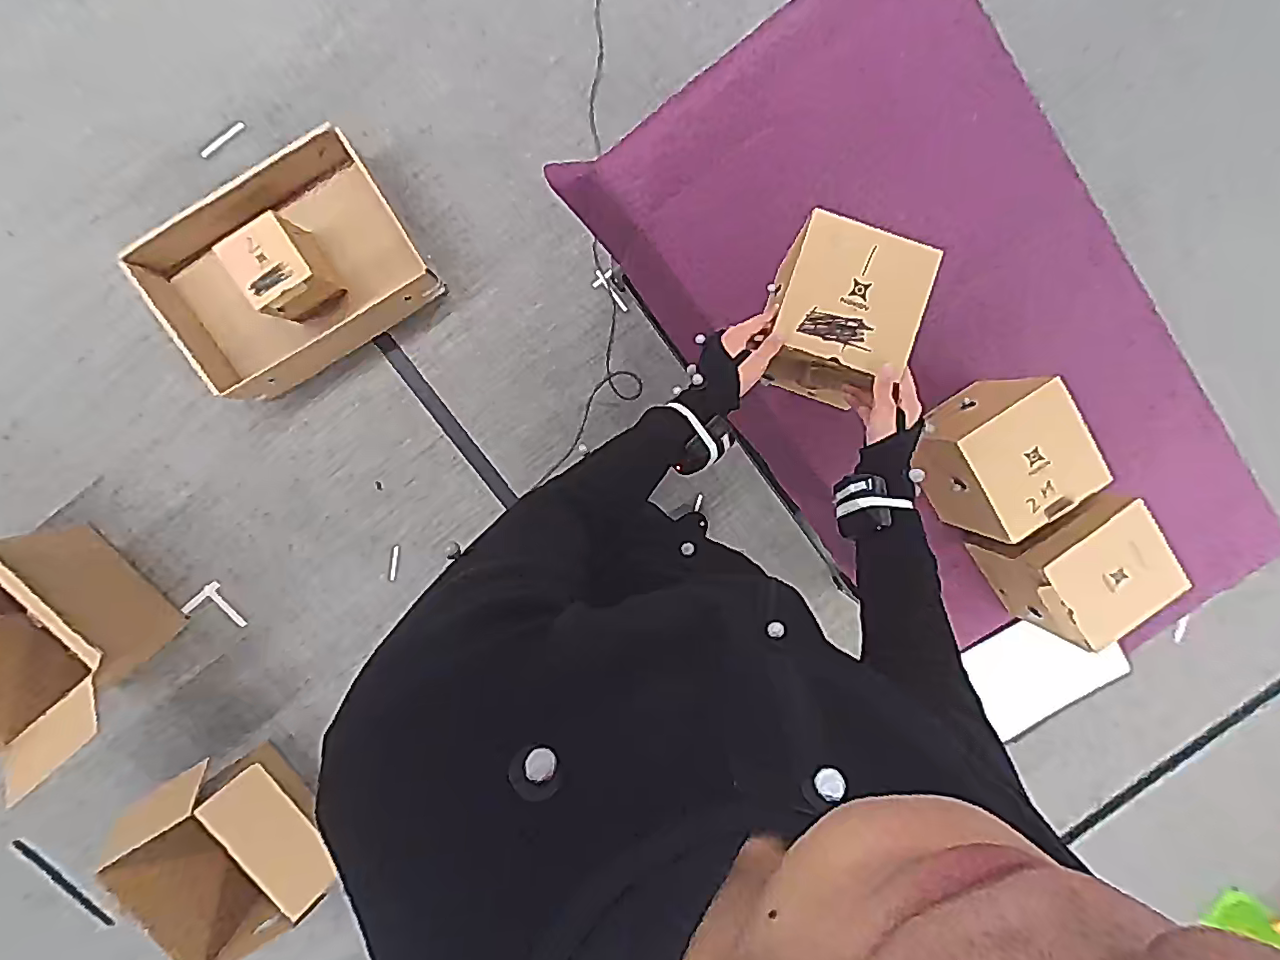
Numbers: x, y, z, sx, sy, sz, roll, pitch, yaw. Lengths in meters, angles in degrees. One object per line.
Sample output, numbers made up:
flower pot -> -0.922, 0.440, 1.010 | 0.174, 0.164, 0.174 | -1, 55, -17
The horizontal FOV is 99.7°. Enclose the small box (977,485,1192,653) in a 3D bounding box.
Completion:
small box -> 0.669, 0.127, 0.842 | 0.179, 0.176, 0.168 | -36, 98, 1
